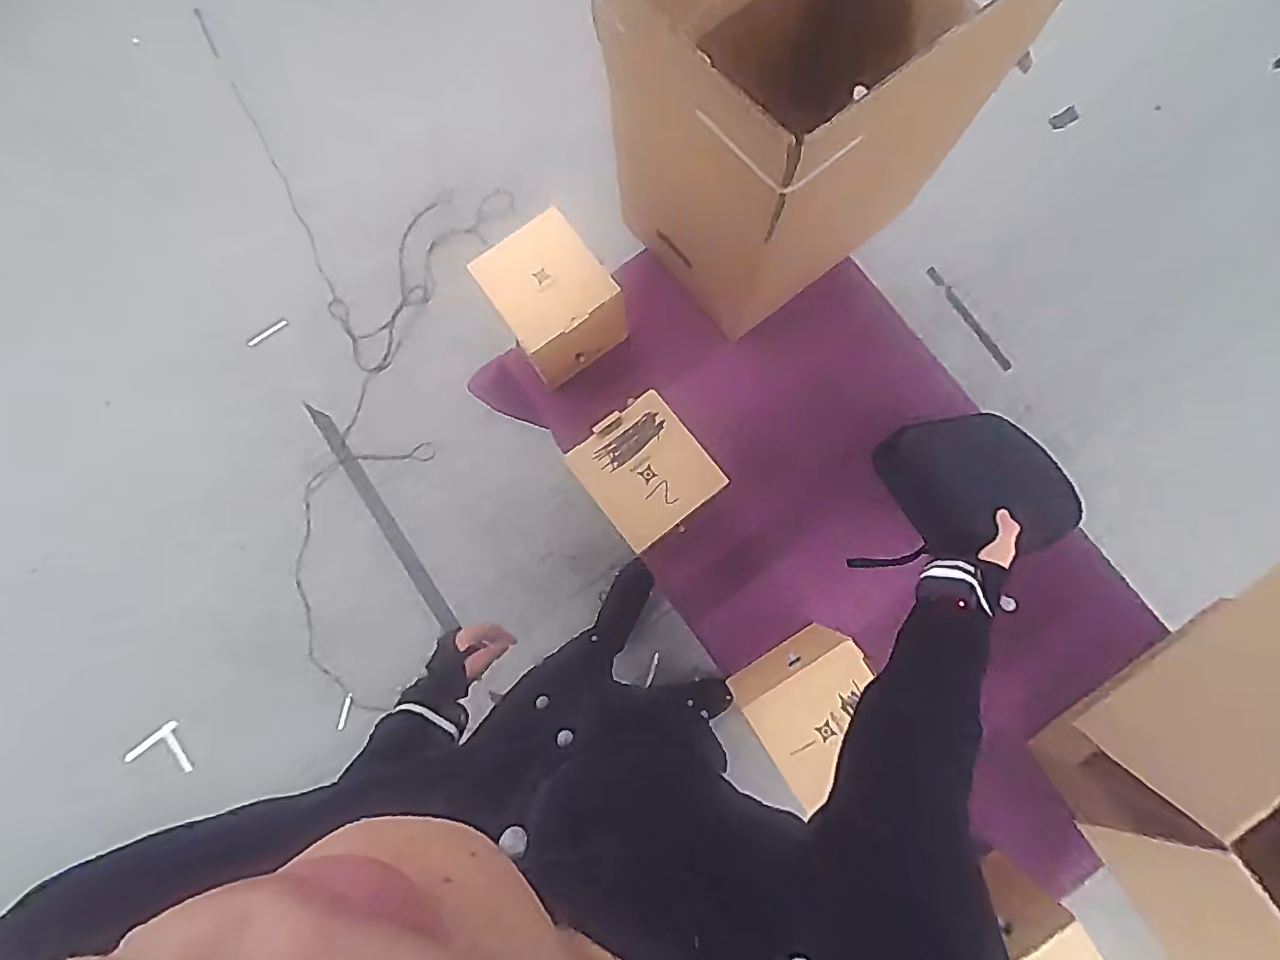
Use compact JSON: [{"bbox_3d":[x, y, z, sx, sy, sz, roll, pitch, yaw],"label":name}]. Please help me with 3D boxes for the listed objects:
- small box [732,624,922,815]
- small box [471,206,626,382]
[{"bbox_3d":[0.255,0.328,0.784,0.179,0.176,0.168,-32,82,-2],"label":"small box"},{"bbox_3d":[-0.138,-0.289,0.877,0.168,0.176,0.179,-37,84,-3],"label":"small box"}]
